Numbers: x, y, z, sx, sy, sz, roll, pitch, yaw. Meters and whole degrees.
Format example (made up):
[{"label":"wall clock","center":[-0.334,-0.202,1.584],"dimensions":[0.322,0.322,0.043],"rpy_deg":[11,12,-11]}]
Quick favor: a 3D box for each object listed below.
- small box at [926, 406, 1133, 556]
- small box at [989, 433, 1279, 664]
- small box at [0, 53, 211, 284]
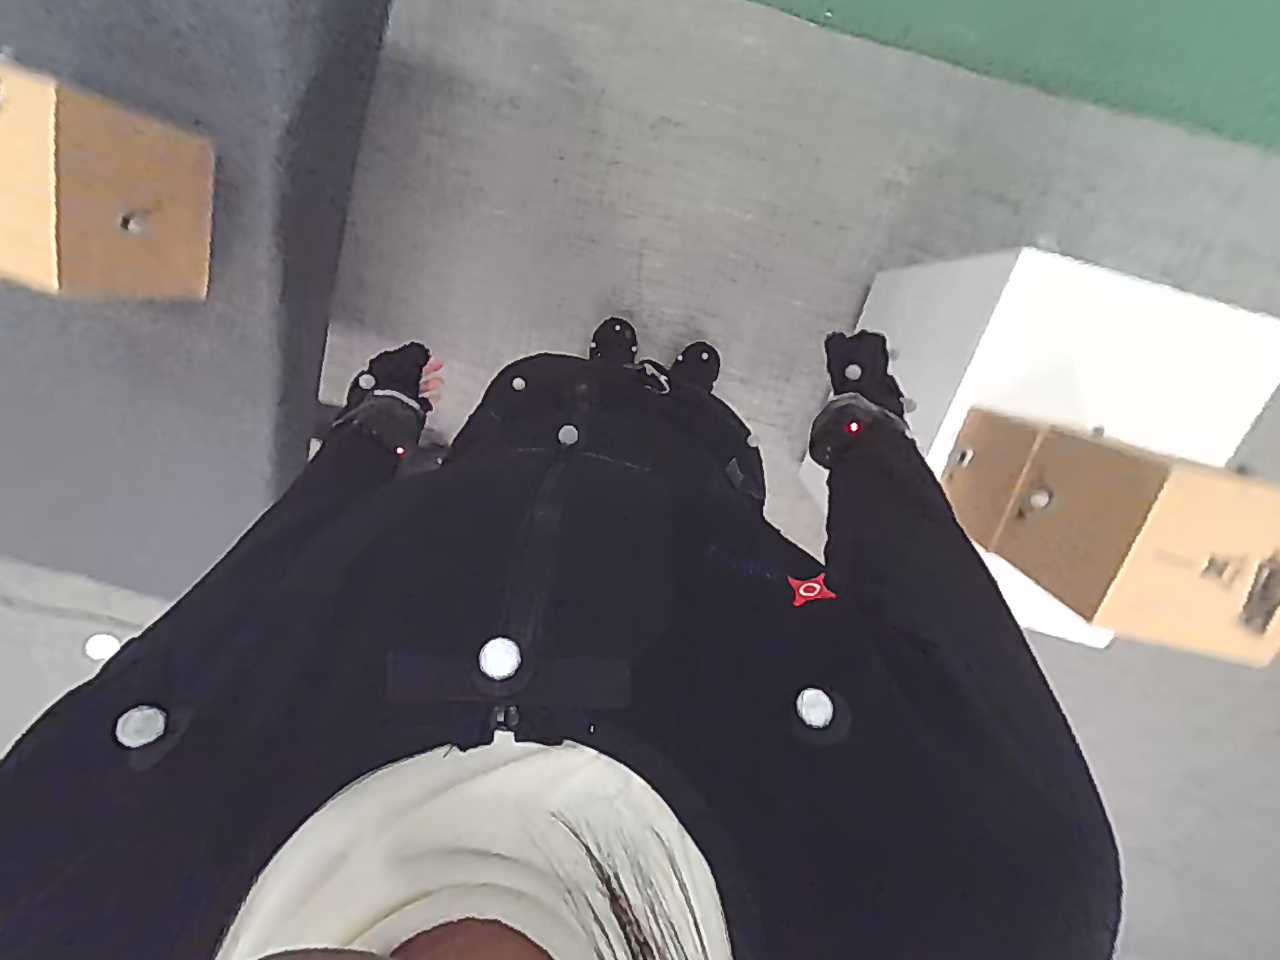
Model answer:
[{"label":"small box","center":[0.520,0.008,0.712],"dimensions":[0.179,0.176,0.168],"rpy_deg":[12,108,1]},{"label":"small box","center":[0.514,0.058,0.556],"dimensions":[0.179,0.176,0.168],"rpy_deg":[10,109,-1]},{"label":"small box","center":[-0.579,-0.309,0.545],"dimensions":[0.168,0.176,0.179],"rpy_deg":[18,109,-1]}]
